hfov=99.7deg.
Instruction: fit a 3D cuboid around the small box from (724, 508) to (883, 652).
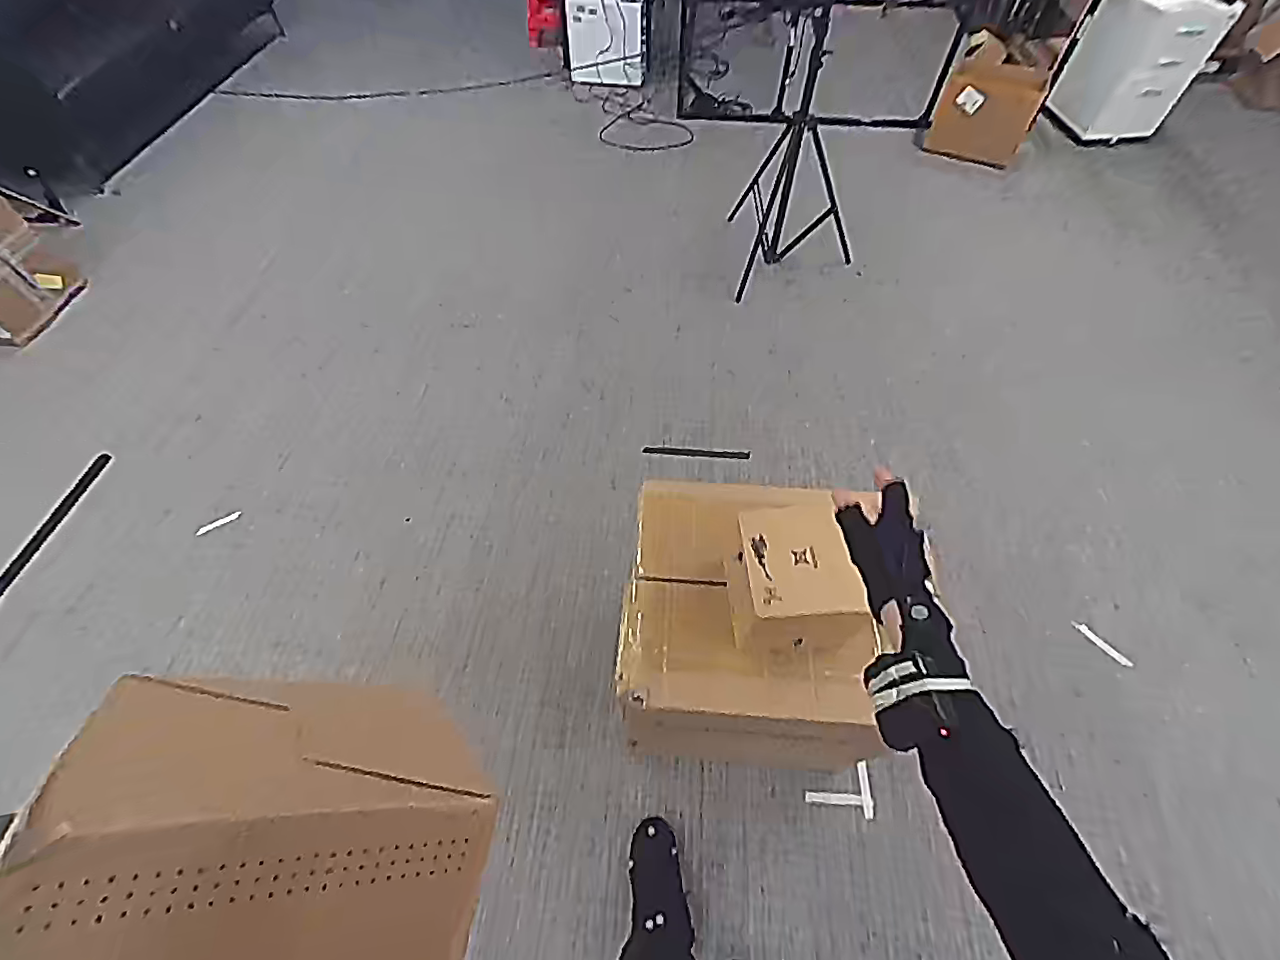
[{"bbox_3d":[0.236,0.157,0.827,0.179,0.176,0.168,-3,57,-2],"label":"small box"}]
